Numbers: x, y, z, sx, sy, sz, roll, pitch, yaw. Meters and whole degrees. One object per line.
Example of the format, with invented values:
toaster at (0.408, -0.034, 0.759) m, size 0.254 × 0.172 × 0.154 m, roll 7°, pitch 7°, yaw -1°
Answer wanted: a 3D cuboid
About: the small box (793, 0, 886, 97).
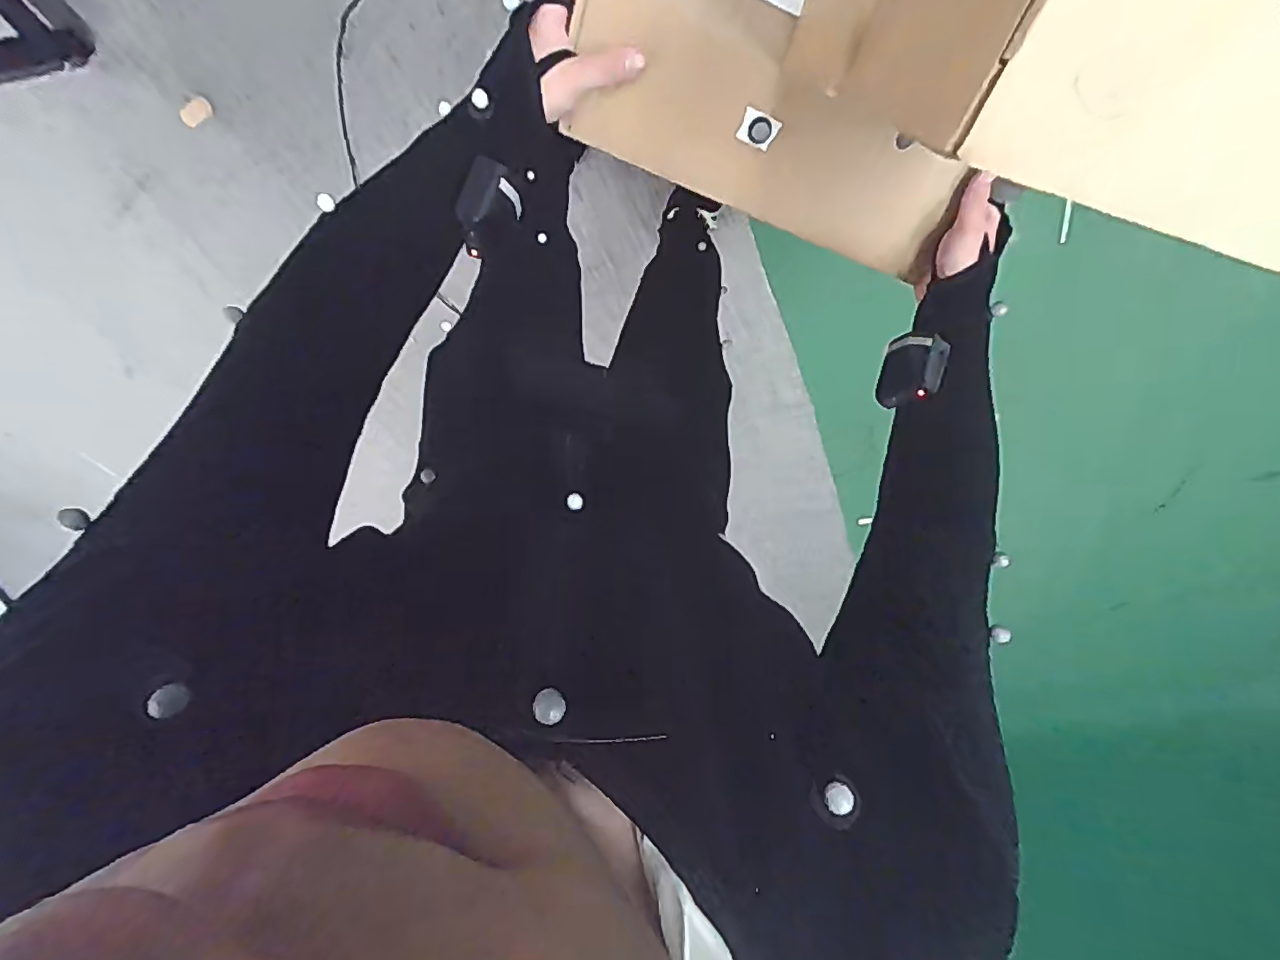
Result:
small box at (0.218, -0.335, 0.346) m, size 0.179 × 0.176 × 0.168 m, roll 12°, pitch 132°, yaw -8°
